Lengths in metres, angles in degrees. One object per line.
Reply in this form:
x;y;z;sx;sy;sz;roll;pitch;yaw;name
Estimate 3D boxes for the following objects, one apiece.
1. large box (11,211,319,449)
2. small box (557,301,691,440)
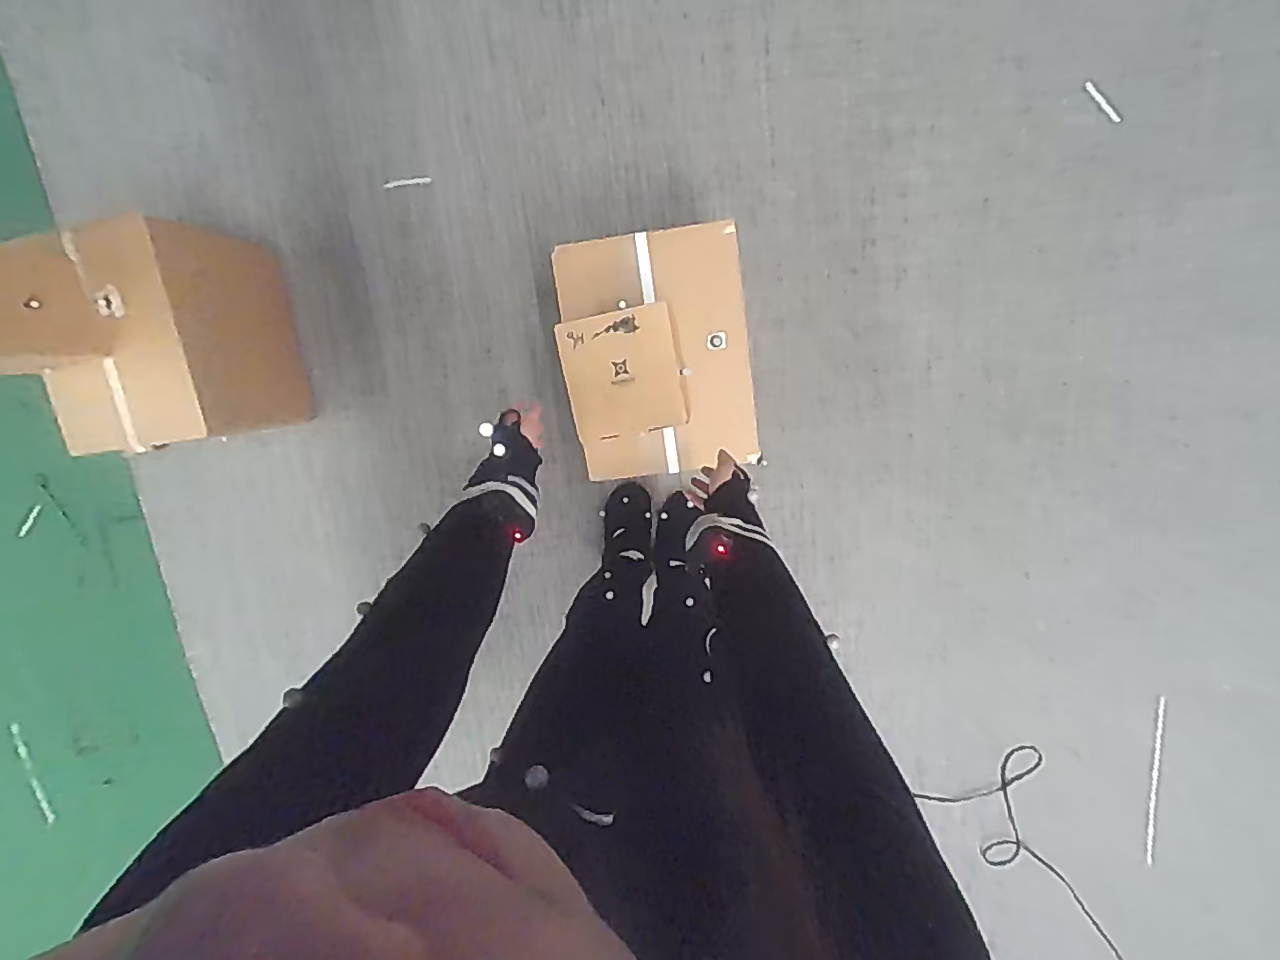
-0.974;-0.300;1.163;0.320;0.320;0.408;-6;101;8;large box
-0.014;-0.173;0.849;0.168;0.176;0.179;-9;103;9;small box
